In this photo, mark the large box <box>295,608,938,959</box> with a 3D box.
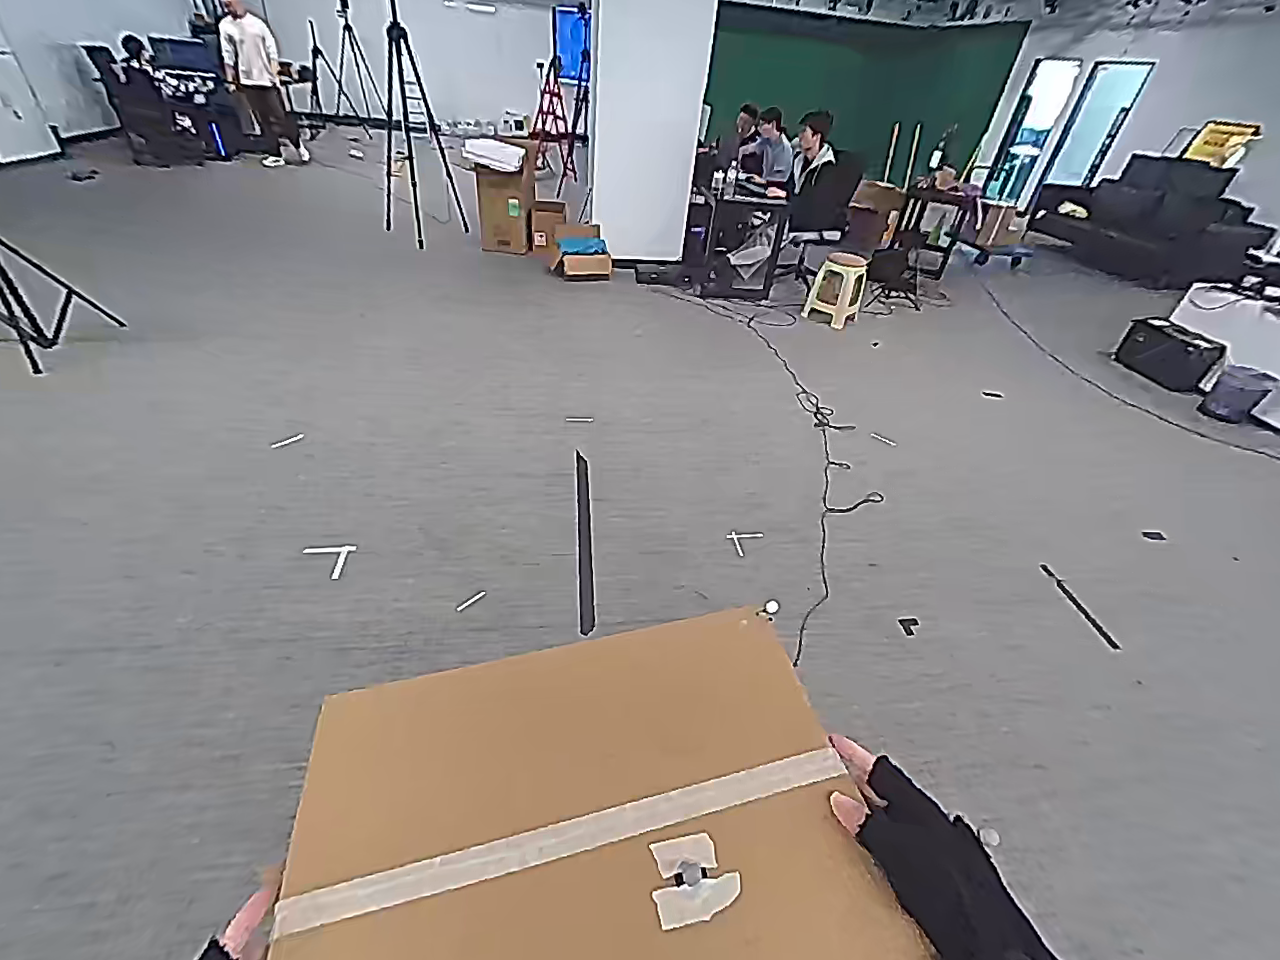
[{"bbox_3d":[-0.035,0.371,0.497,0.408,0.320,0.320,-9,42,-10],"label":"large box"}]
